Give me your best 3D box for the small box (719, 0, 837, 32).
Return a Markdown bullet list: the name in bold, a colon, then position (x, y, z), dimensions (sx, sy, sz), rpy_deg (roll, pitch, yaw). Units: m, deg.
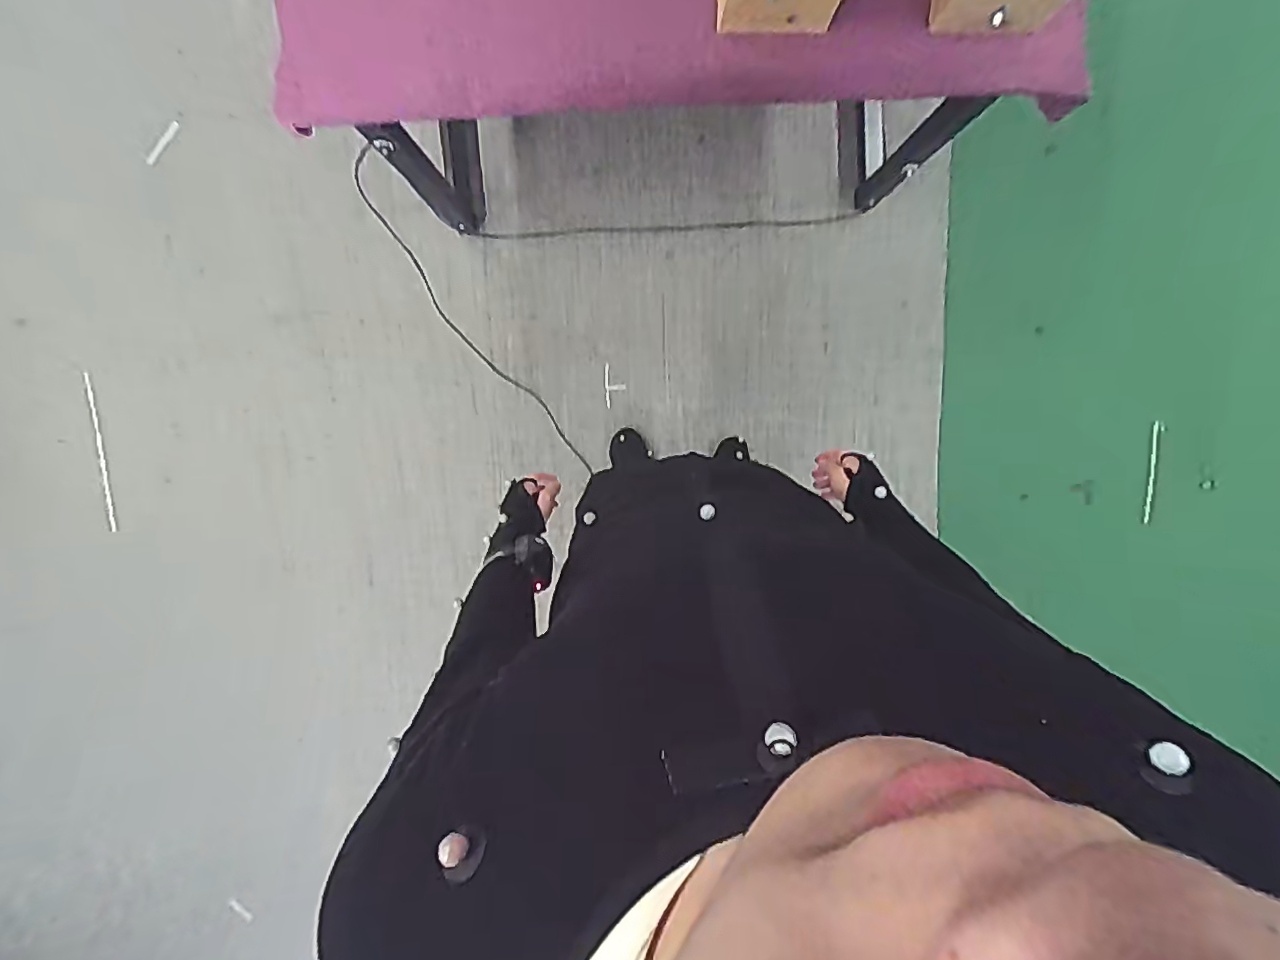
- **small box**: position (0.199, -0.750, 0.729), dimensions (0.168, 0.176, 0.179), rpy_deg (0, 95, 0)
